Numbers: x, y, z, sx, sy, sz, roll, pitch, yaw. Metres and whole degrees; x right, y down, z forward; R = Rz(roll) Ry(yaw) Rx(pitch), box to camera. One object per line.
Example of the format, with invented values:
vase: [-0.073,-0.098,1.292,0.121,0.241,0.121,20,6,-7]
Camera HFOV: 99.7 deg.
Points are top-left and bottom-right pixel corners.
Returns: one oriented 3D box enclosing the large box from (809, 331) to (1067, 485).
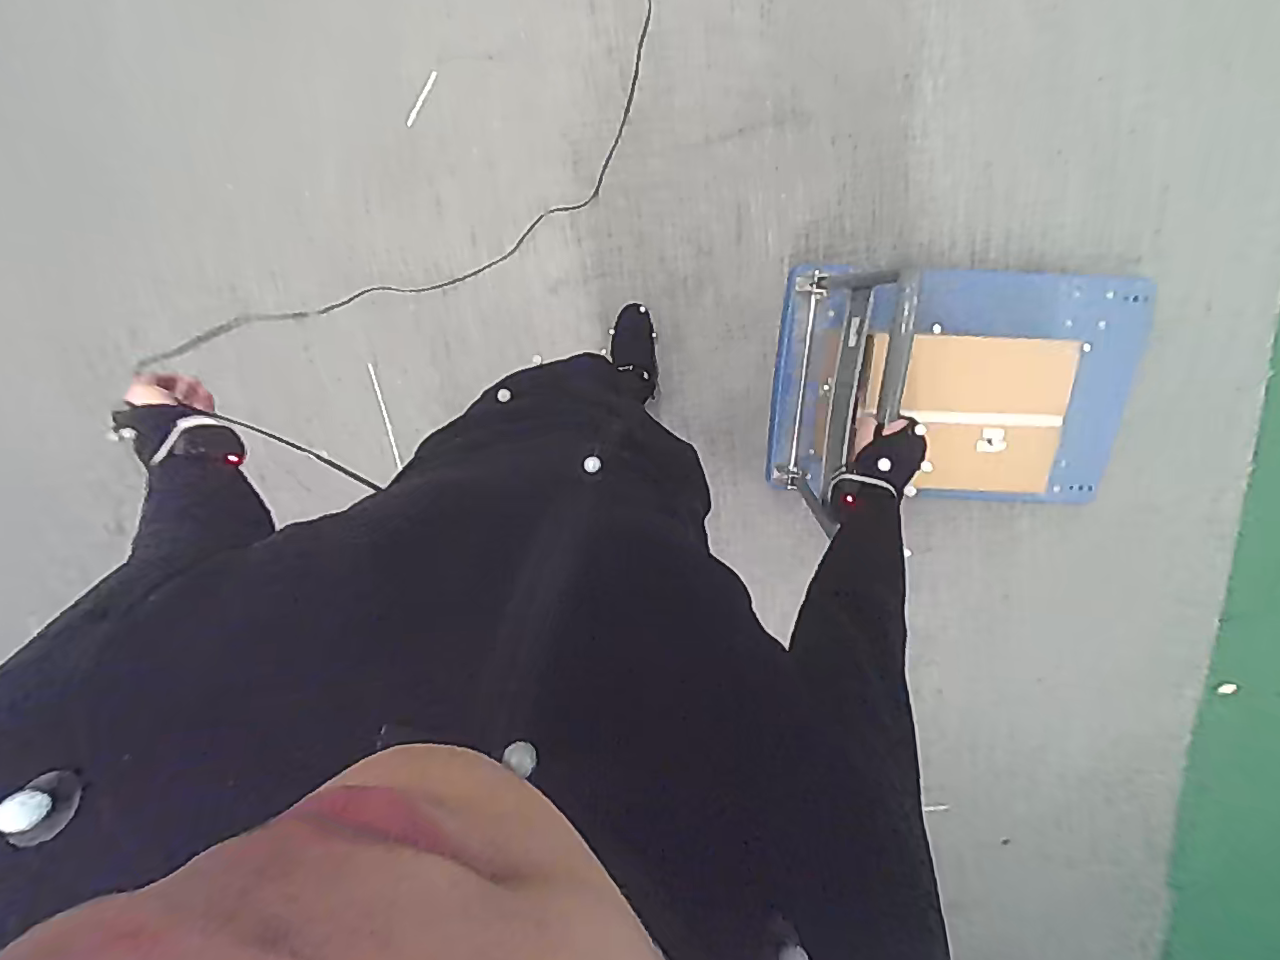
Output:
large box: [0.641,-0.181,1.247,0.408,0.320,0.320,2,107,1]
